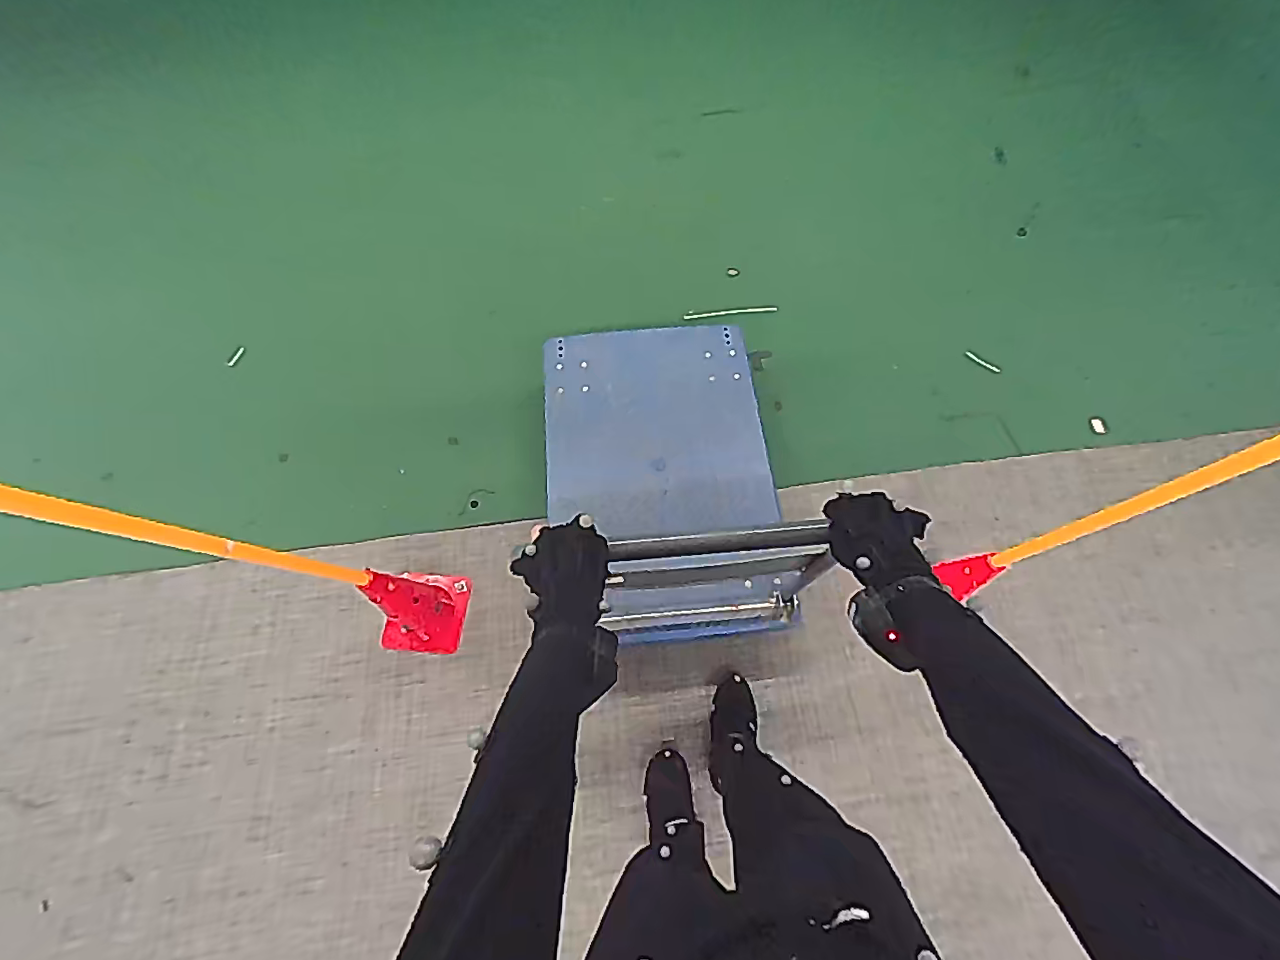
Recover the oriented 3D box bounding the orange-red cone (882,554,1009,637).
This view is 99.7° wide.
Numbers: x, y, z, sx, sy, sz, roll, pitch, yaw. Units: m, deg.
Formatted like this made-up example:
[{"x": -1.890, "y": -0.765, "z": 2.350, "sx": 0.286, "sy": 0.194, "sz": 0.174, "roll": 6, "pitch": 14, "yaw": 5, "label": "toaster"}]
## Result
[{"x": 0.738, "y": 0.240, "z": 1.260, "sx": 0.198, "sy": 0.360, "sz": 0.199, "roll": 3, "pitch": 67, "yaw": 2, "label": "orange-red cone"}]
